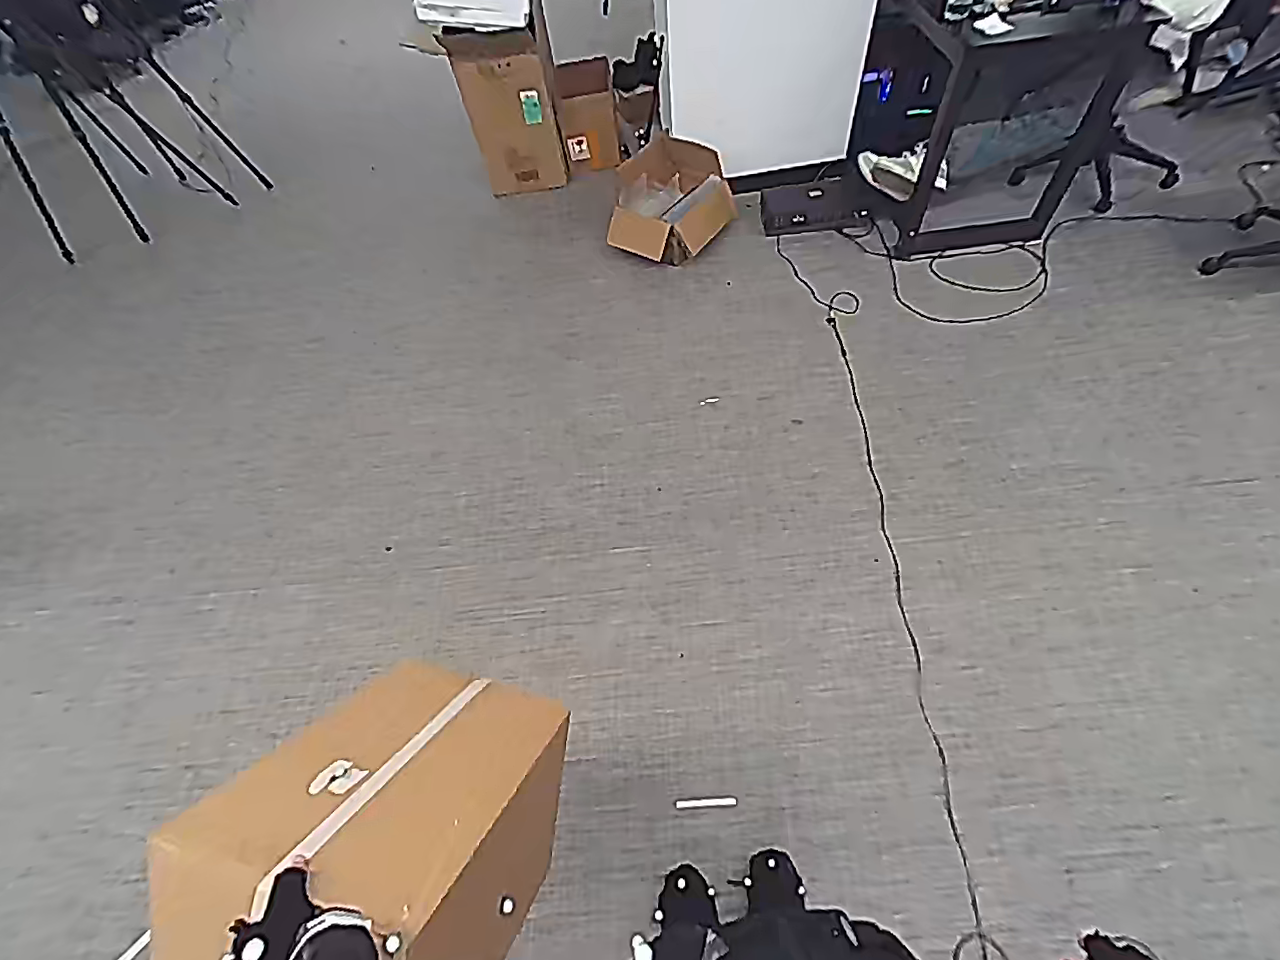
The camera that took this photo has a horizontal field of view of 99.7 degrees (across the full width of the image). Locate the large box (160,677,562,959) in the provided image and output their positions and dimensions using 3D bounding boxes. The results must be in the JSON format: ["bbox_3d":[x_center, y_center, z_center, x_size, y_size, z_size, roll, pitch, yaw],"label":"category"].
[{"bbox_3d":[-0.338,0.545,0.752,0.320,0.408,0.320,10,100,14],"label":"large box"}]
